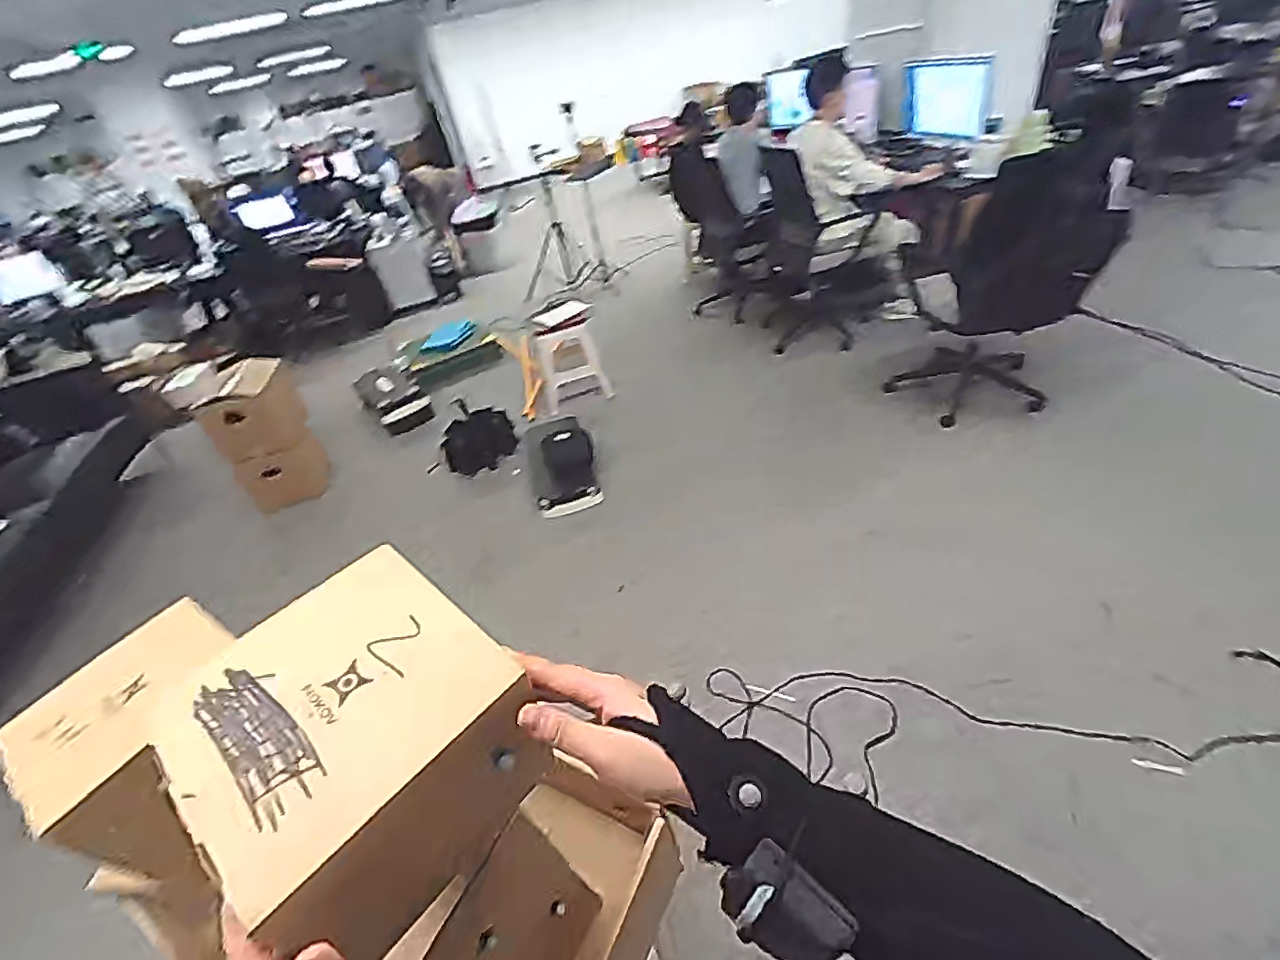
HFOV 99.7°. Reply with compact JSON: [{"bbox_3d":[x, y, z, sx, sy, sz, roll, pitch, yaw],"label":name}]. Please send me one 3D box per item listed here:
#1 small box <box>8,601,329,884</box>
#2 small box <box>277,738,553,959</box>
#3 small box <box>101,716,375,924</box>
[{"bbox_3d":[-0.464,0.265,0.563,0.168,0.176,0.179,15,47,32],"label":"small box"},{"bbox_3d":[-0.211,0.415,0.560,0.168,0.176,0.179,10,45,31],"label":"small box"},{"bbox_3d":[-0.454,0.406,0.653,0.168,0.176,0.179,-7,41,9],"label":"small box"}]
